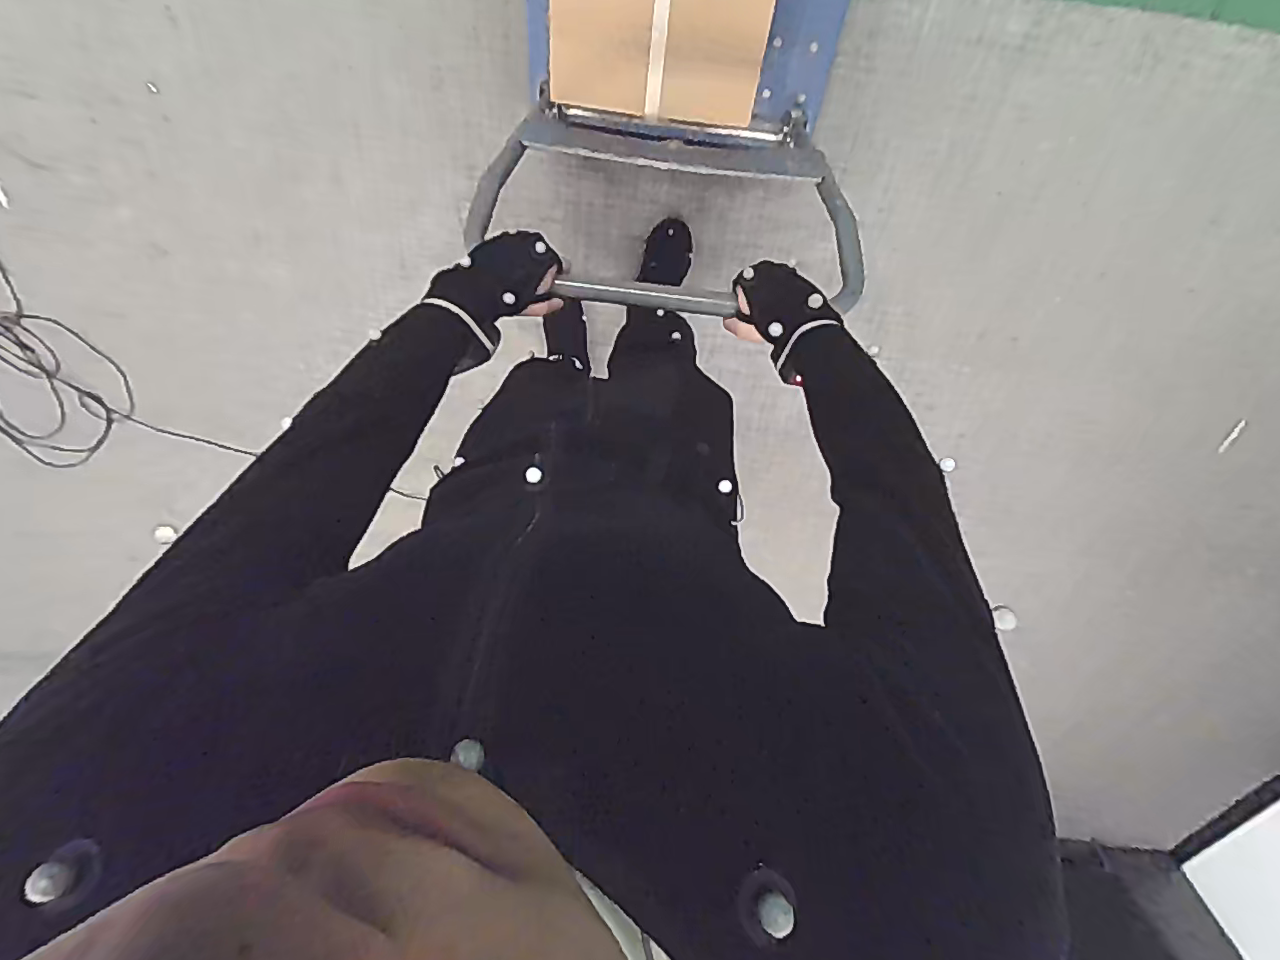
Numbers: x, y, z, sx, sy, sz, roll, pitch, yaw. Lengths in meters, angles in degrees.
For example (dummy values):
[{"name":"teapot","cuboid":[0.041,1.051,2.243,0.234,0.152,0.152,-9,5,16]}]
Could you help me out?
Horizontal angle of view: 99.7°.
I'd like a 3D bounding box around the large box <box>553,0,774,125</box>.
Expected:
[{"name":"large box","cuboid":[0.048,-0.820,0.831,0.320,0.320,0.408,7,132,-2]}]
